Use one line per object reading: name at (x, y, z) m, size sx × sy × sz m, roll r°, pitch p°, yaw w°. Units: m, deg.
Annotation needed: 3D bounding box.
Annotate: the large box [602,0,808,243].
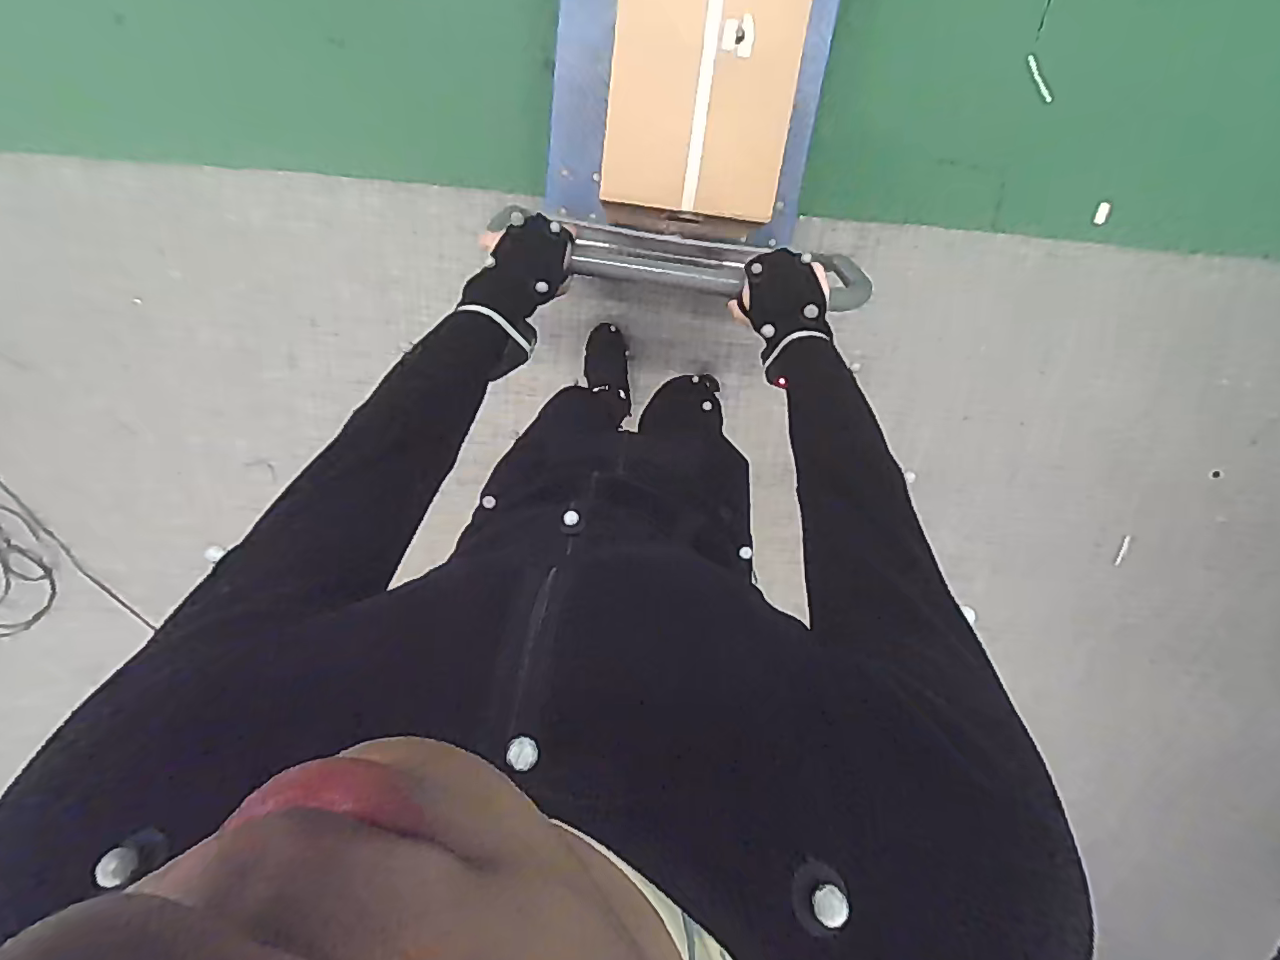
large box at (0.108, -0.711, 1.062) m, size 0.320 × 0.320 × 0.408 m, roll 7°, pitch 108°, yaw -3°
